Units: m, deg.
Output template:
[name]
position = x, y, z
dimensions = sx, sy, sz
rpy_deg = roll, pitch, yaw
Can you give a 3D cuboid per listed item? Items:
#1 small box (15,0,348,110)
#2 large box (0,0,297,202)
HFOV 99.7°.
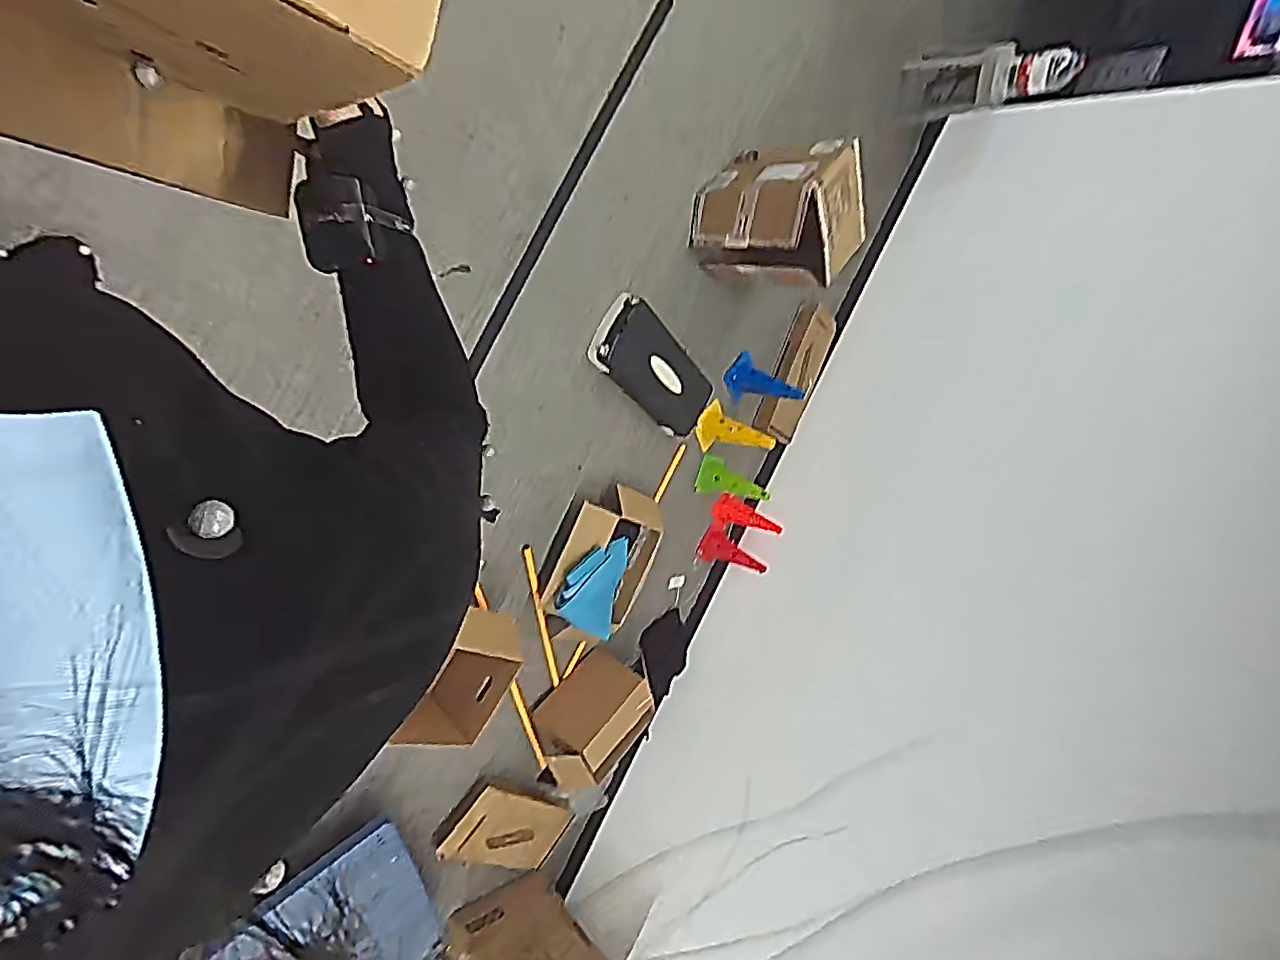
[small box]
position = -0.274, -0.351, 0.313
dimensions = 0.168, 0.176, 0.179
rpy_deg = 3, 110, -45
[large box]
position = -0.512, -0.438, 0.400
dimensions = 0.408, 0.320, 0.320
rpy_deg = -1, 112, -44
